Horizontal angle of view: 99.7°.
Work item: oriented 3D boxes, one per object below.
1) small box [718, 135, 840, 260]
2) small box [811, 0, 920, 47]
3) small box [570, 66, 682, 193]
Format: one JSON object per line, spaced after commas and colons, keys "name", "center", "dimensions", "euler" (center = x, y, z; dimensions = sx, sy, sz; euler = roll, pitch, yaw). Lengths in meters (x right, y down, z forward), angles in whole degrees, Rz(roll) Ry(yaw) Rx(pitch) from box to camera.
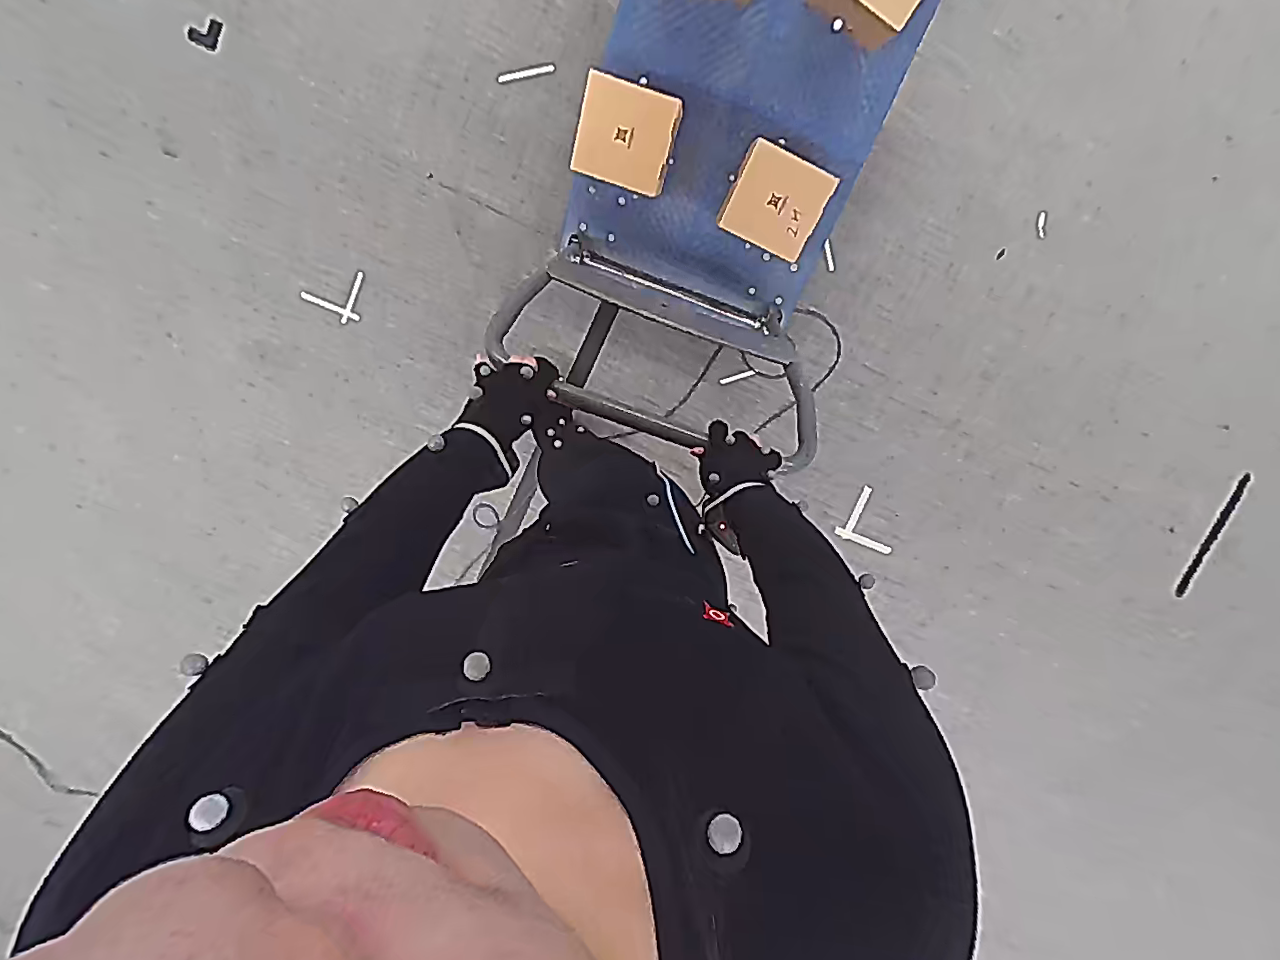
{"name": "small box", "center": [0.272, -0.574, 1.109], "dimensions": [0.179, 0.176, 0.168], "euler": [23, 119, -8]}
{"name": "small box", "center": [0.416, -0.893, 0.921], "dimensions": [0.168, 0.176, 0.179], "euler": [29, 118, -10]}
{"name": "small box", "center": [-0.024, -0.685, 1.076], "dimensions": [0.179, 0.176, 0.168], "euler": [16, 119, -5]}
